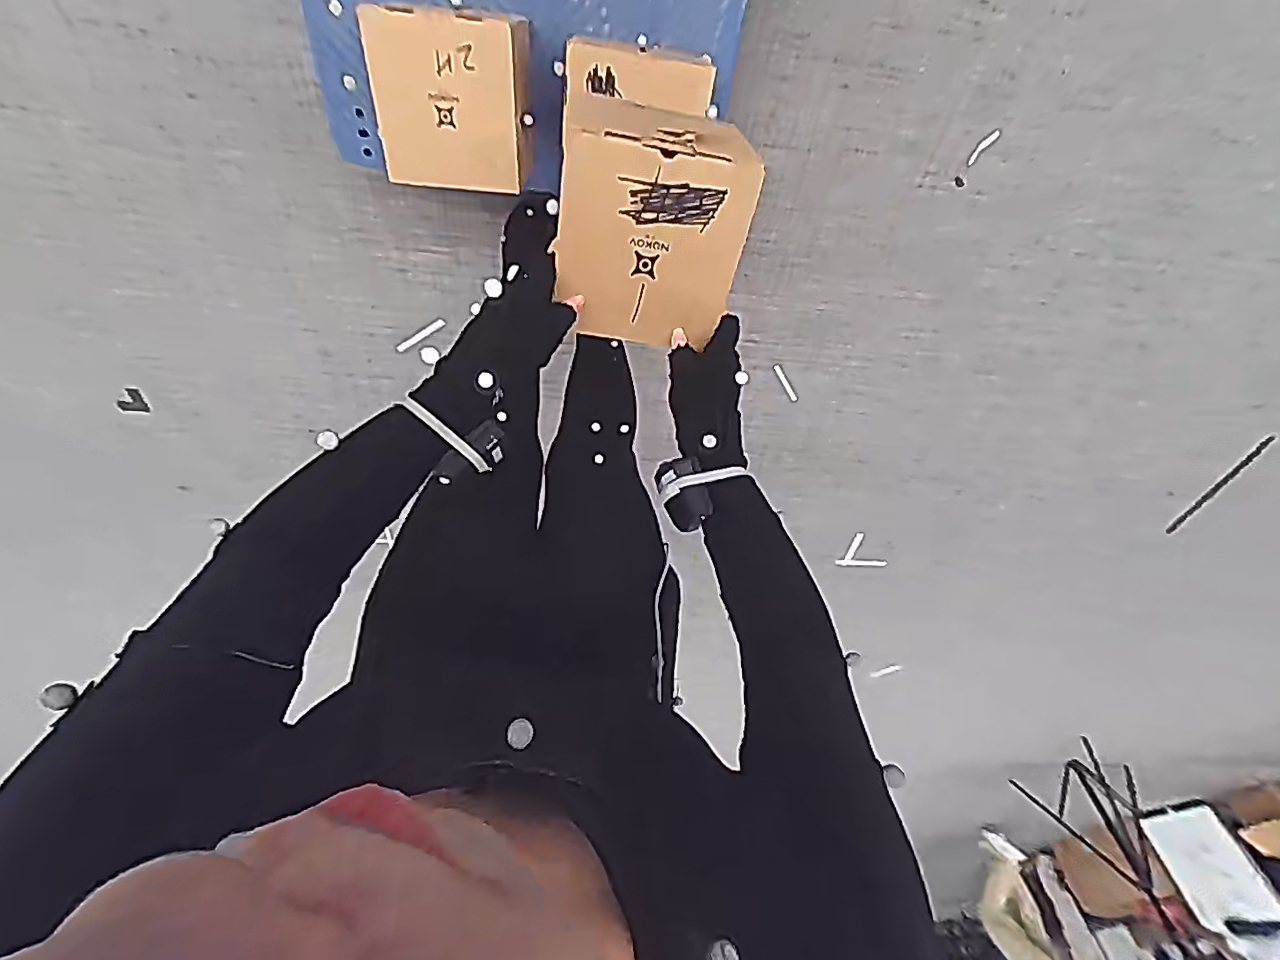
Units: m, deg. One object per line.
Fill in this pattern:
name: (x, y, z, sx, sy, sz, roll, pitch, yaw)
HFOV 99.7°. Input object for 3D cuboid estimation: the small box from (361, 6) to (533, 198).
small box: (-0.232, -0.492, 0.704, 0.168, 0.176, 0.179, 3, 131, -5)

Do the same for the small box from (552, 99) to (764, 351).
small box: (0.005, -0.260, 0.550, 0.168, 0.176, 0.179, 7, 133, -9)
